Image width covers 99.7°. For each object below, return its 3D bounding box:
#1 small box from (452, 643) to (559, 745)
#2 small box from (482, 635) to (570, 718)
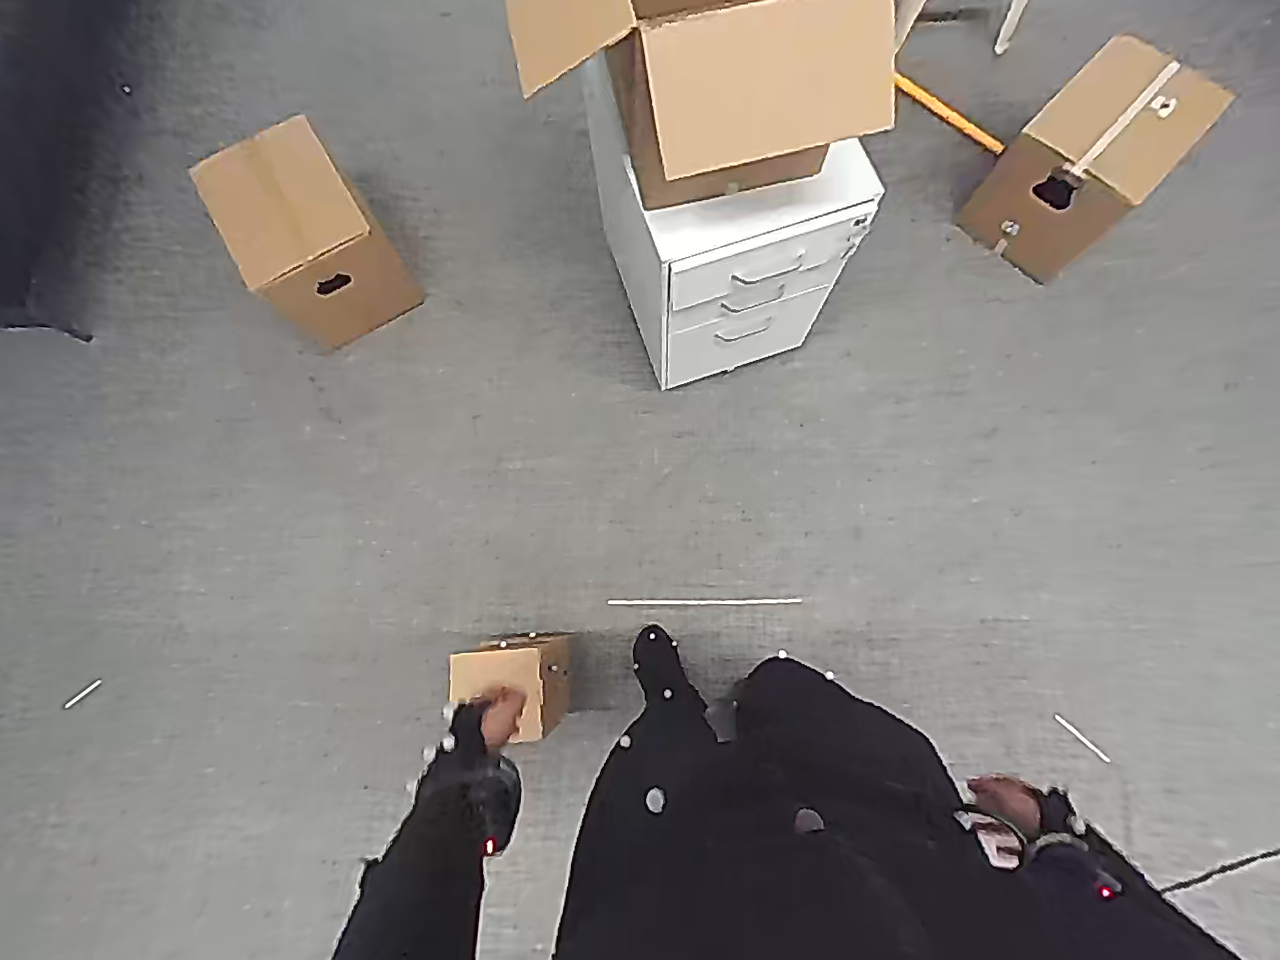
[{"bbox_3d":[-0.264,0.425,1.096,0.179,0.176,0.168,-6,75,3],"label":"small box"},{"bbox_3d":[-0.258,0.452,1.257,0.179,0.176,0.168,-3,76,2],"label":"small box"}]
